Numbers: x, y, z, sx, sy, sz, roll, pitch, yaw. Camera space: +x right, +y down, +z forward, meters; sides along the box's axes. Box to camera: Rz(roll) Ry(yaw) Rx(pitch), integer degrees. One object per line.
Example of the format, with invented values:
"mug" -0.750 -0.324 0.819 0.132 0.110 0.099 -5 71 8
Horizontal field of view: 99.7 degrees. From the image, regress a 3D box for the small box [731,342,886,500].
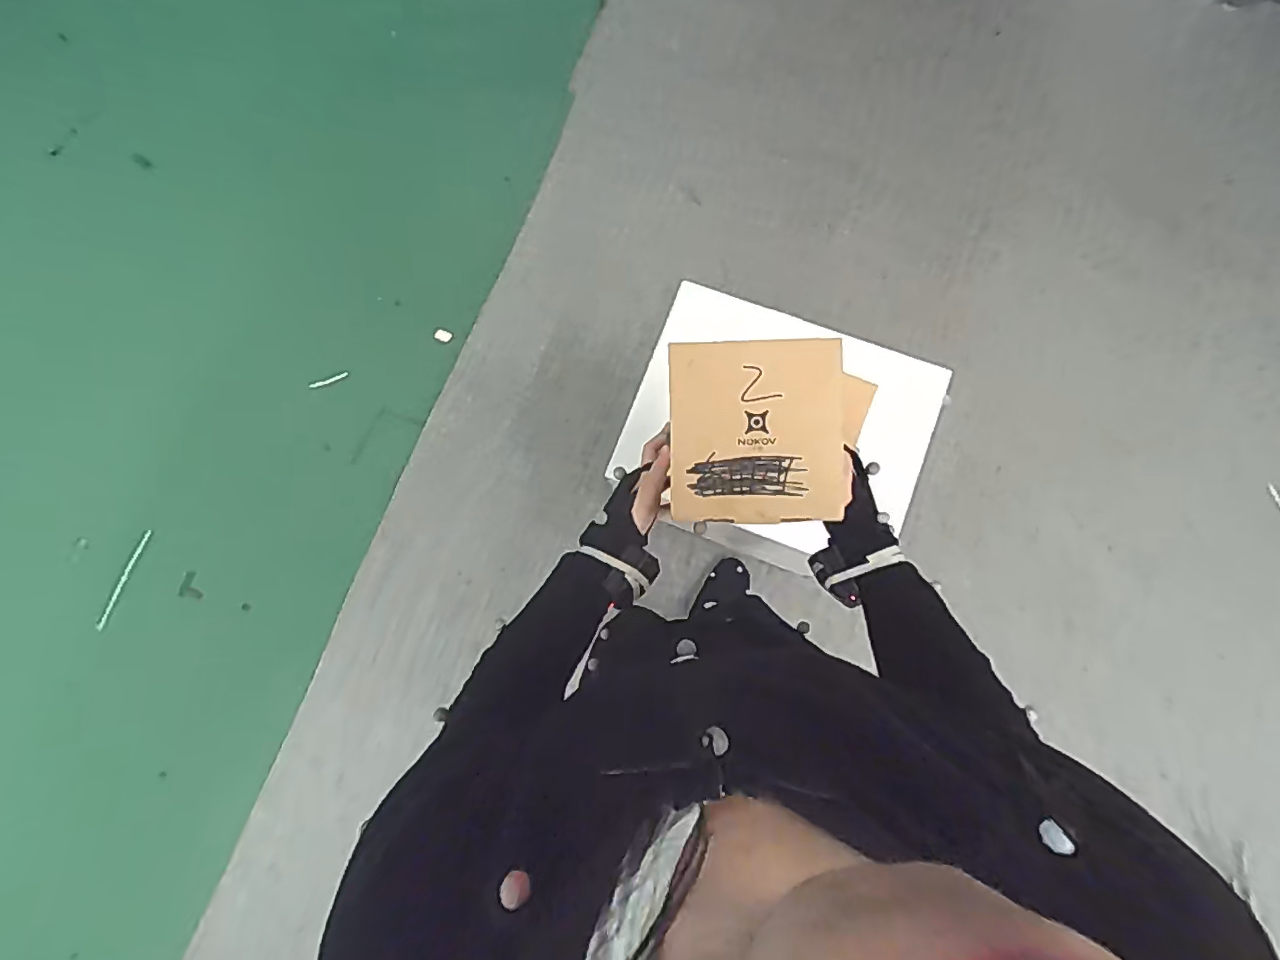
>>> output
"small box" 0.254 -0.083 0.858 0.168 0.176 0.179 22 83 6
